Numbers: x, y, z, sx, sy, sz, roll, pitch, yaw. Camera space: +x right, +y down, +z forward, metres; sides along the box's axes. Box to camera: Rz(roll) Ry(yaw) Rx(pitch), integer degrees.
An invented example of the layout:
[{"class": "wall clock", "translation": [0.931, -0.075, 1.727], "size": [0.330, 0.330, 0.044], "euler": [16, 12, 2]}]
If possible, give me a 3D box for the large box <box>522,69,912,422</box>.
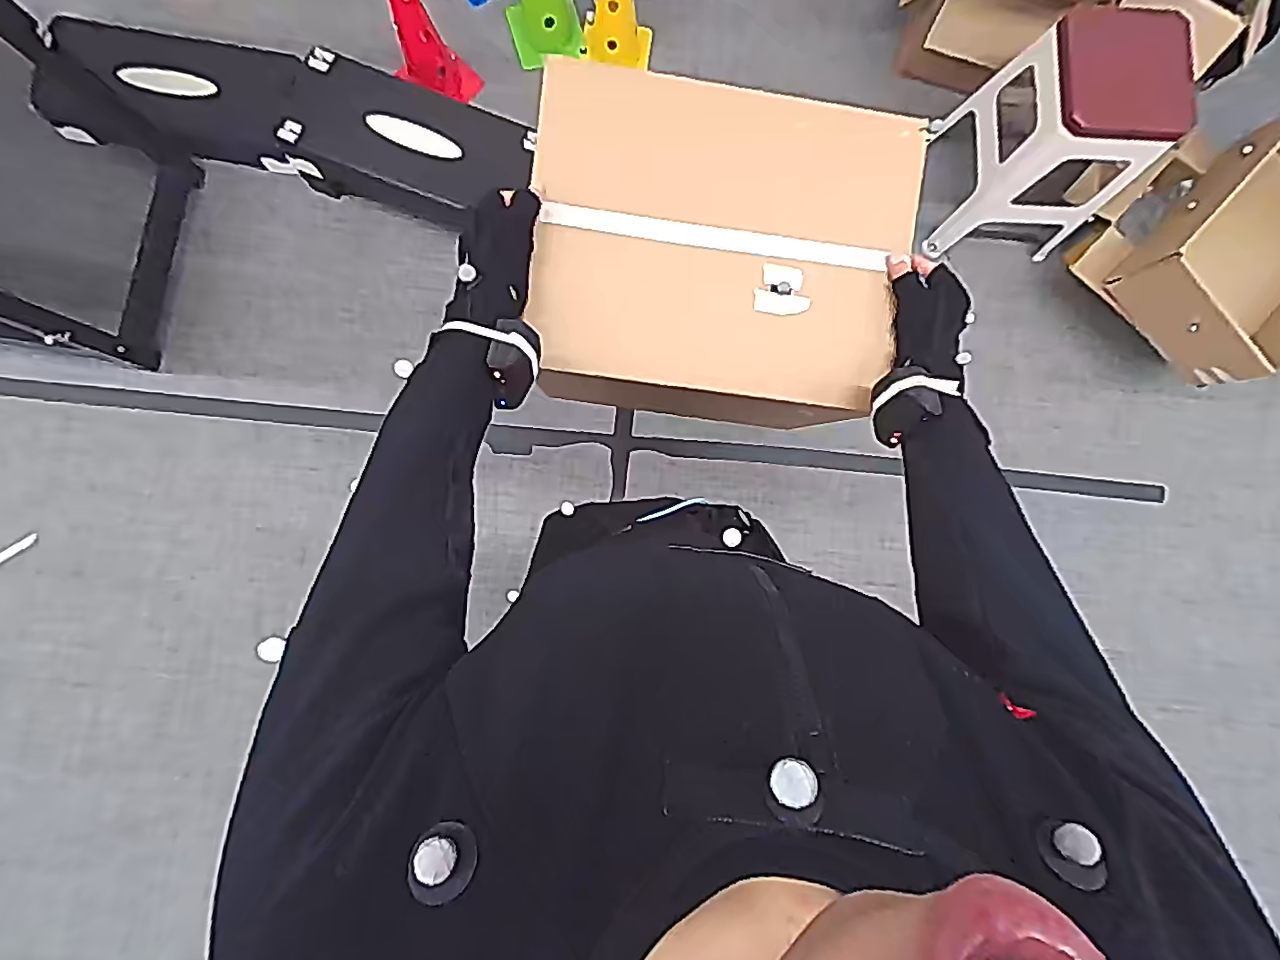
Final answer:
[{"class": "large box", "translation": [0.074, -0.261, 0.725], "size": [0.408, 0.320, 0.320], "euler": [7, 92, -5]}]
